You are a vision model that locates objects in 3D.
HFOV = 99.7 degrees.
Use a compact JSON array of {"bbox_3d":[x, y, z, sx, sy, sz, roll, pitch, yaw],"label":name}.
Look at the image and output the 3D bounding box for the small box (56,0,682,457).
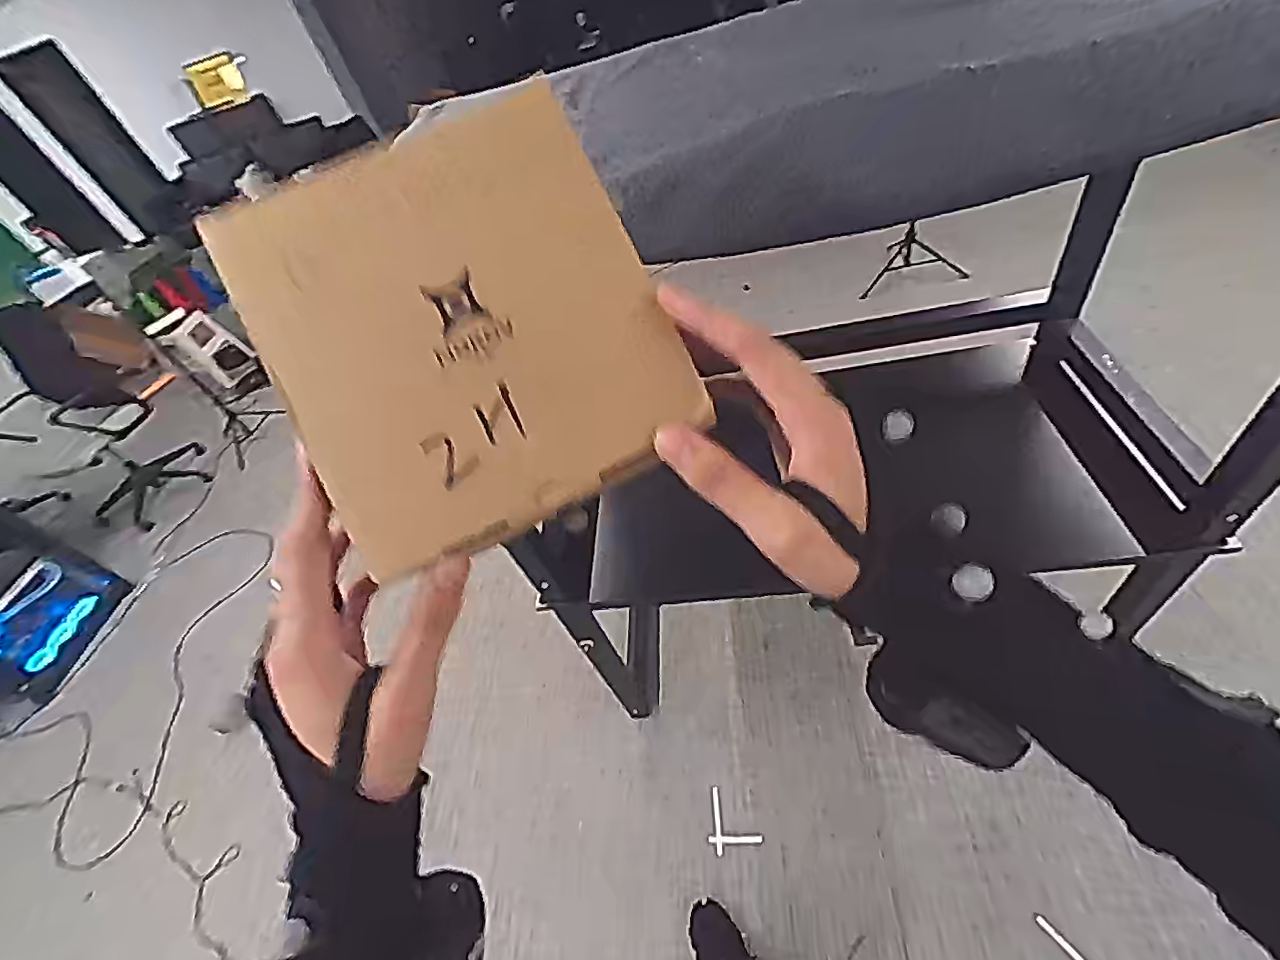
[{"bbox_3d":[-0.099,-0.126,0.270,0.168,0.176,0.179,-27,90,-4],"label":"small box"}]
